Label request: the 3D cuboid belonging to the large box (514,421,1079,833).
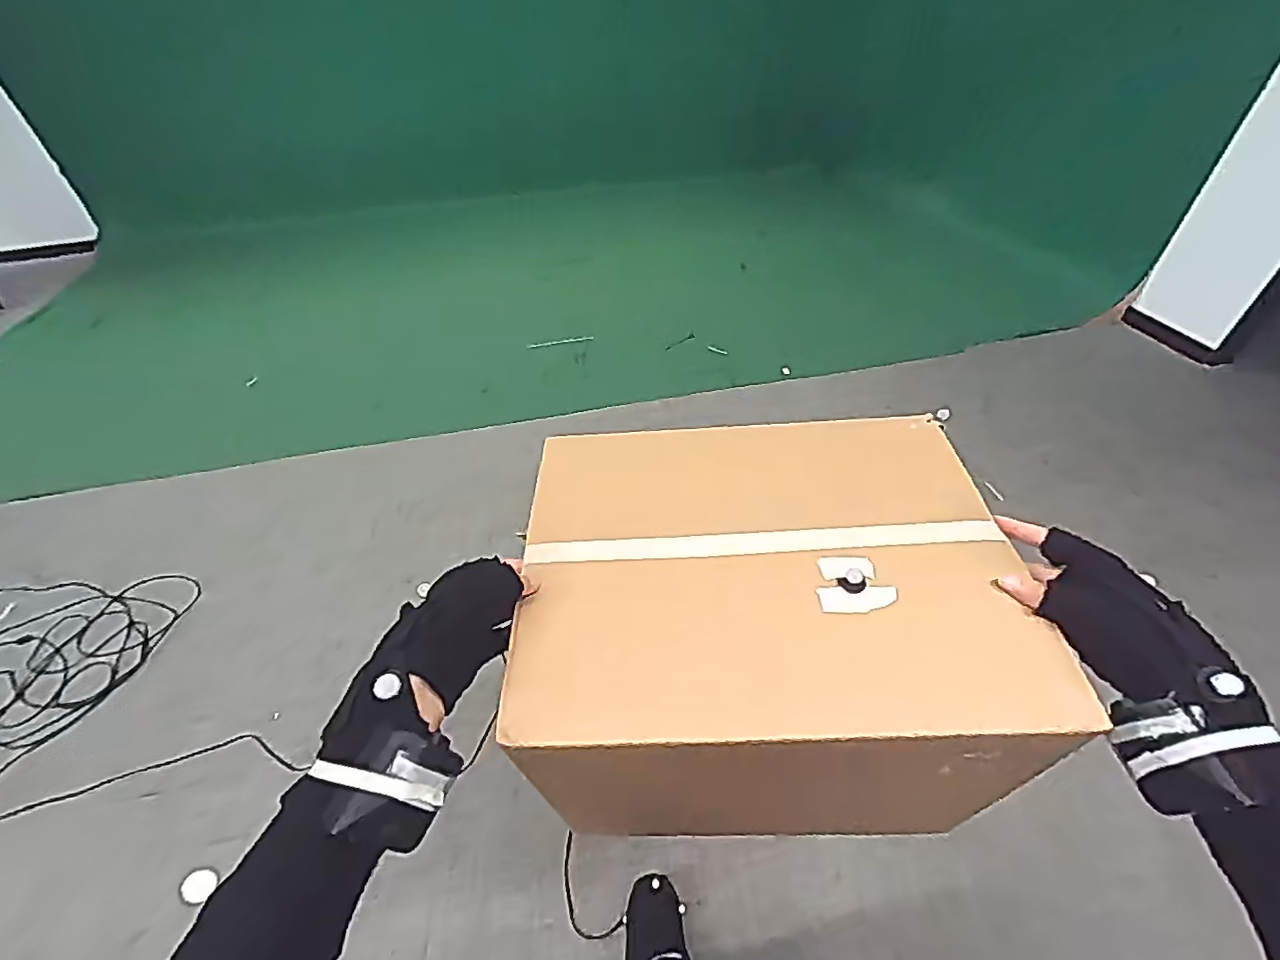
[{"bbox_3d":[0.114,0.164,0.585,0.408,0.320,0.320,-4,47,3],"label":"large box"}]
